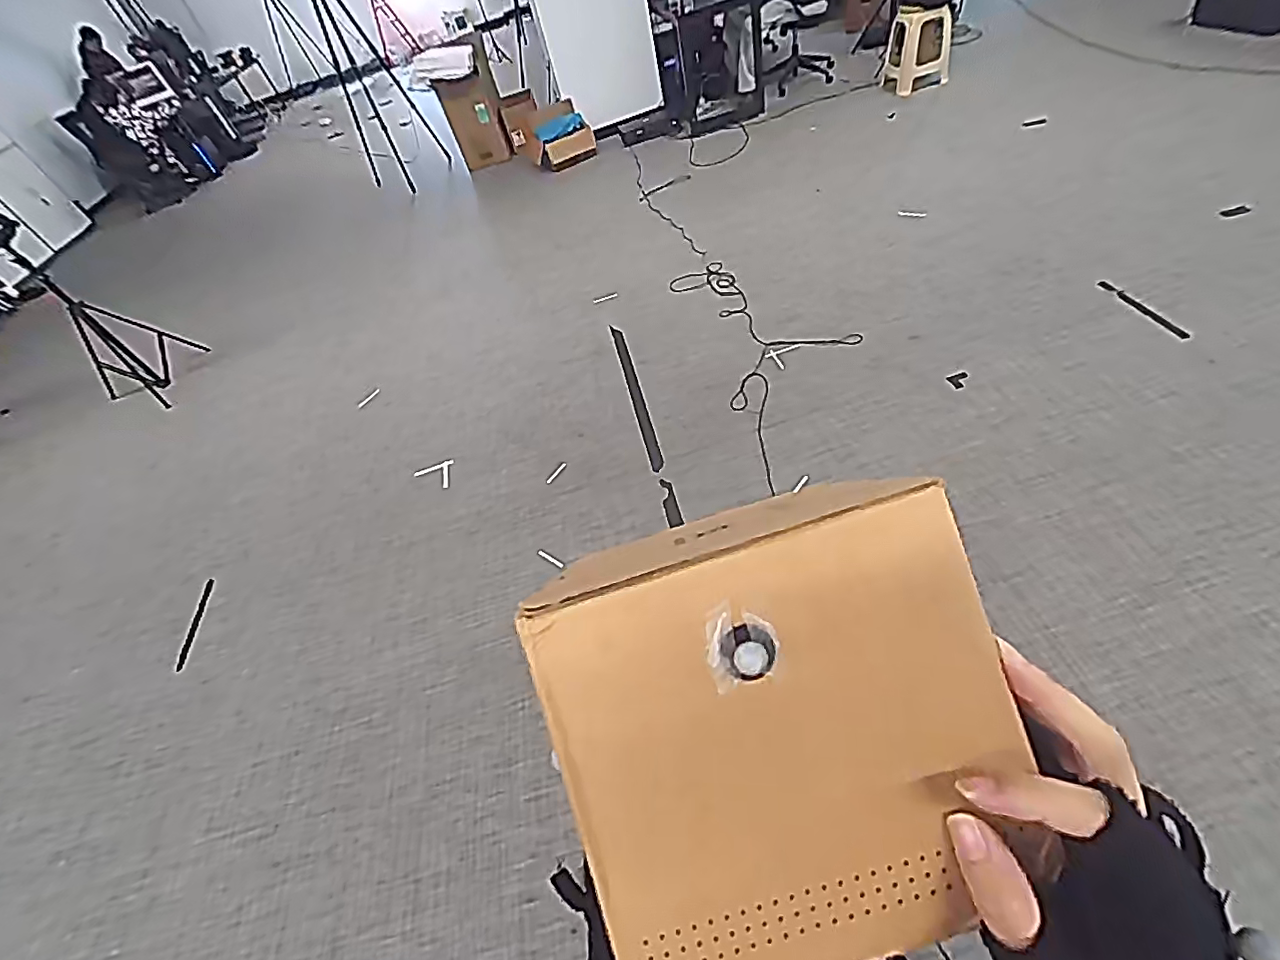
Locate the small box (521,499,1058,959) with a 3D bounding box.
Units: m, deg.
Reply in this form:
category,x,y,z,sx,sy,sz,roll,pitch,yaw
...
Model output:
category,x,y,z,sx,sy,sz,roll,pitch,yaw
small box,0.062,0.115,0.285,0.179,0.168,0.176,-17,88,2
